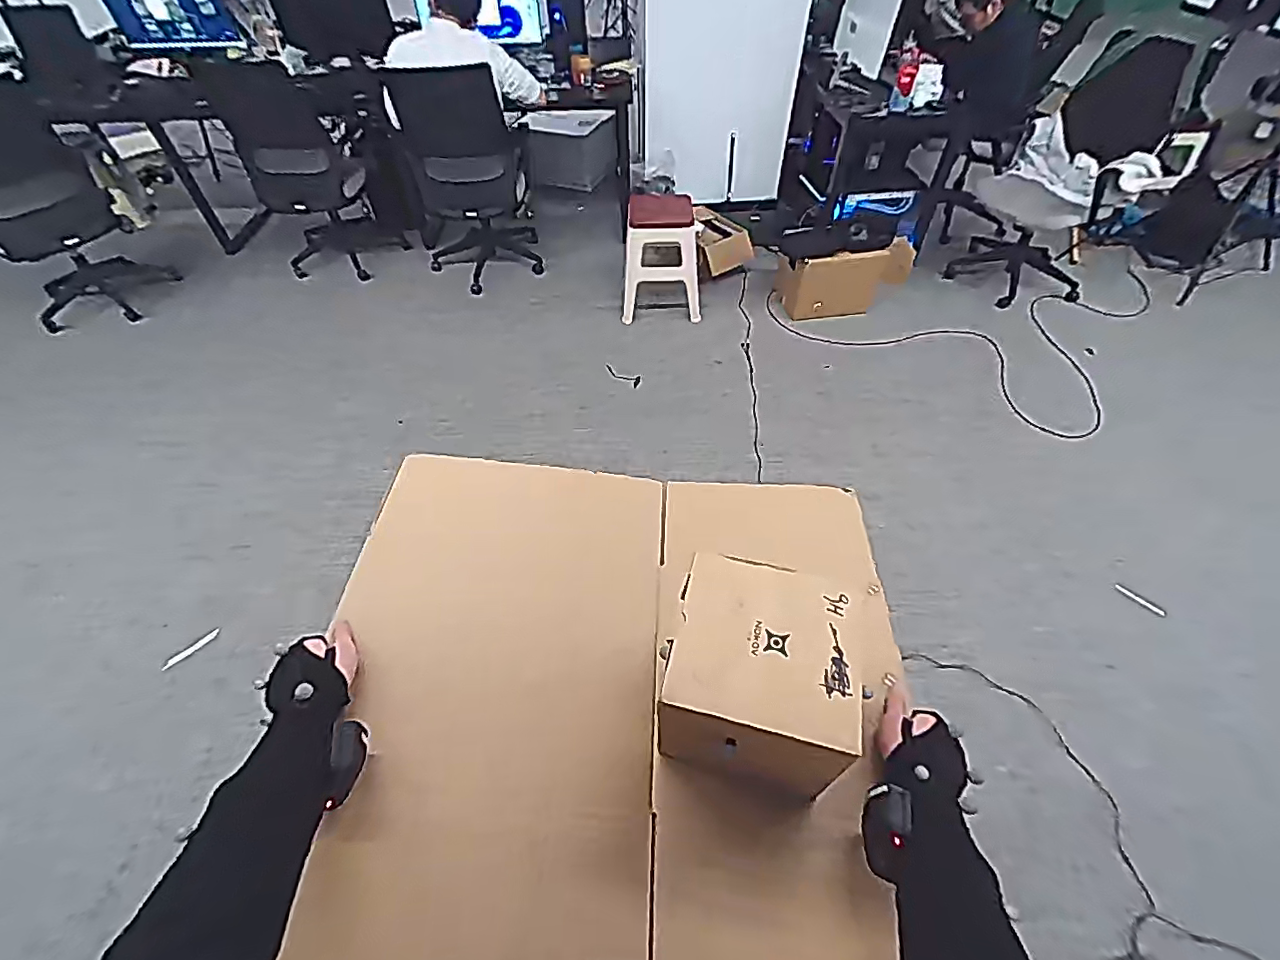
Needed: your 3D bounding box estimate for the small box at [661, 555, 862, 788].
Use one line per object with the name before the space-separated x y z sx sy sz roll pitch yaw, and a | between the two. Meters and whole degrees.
small box | 0.127 0.207 0.581 0.179 0.176 0.168 10 50 12
